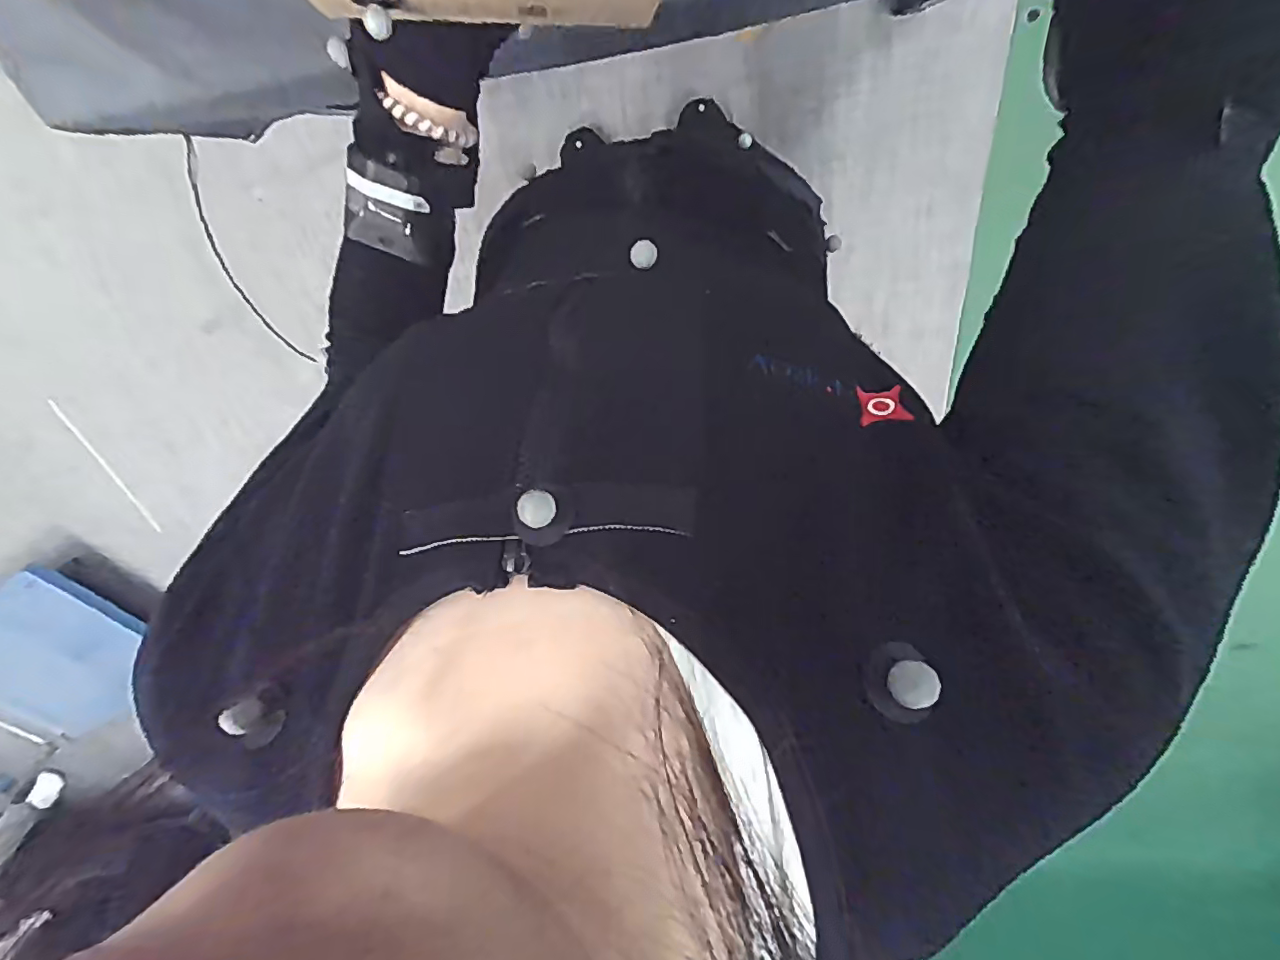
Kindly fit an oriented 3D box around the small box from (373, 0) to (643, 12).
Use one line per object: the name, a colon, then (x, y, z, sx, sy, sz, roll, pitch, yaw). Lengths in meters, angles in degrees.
small box: (-0.067, -0.278, 0.165, 0.168, 0.176, 0.179, -4, 115, -5)
